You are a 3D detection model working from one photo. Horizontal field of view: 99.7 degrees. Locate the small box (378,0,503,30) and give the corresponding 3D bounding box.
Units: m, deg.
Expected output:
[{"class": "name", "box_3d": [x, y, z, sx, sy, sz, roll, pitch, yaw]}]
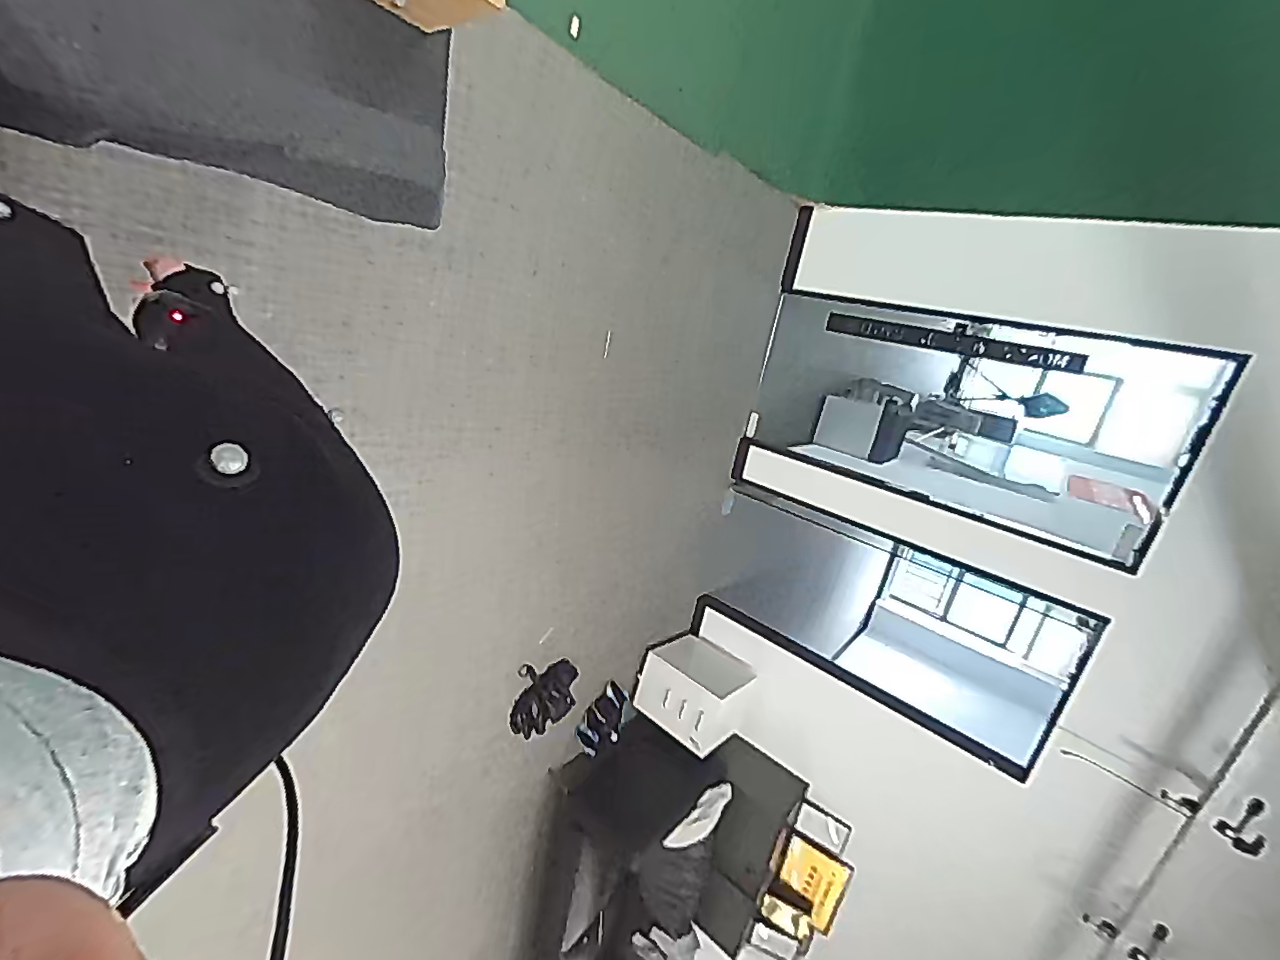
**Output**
[{"class": "small box", "box_3d": [-0.259, -0.650, 0.606, 0.168, 0.176, 0.179, -9, 117, -51]}]
